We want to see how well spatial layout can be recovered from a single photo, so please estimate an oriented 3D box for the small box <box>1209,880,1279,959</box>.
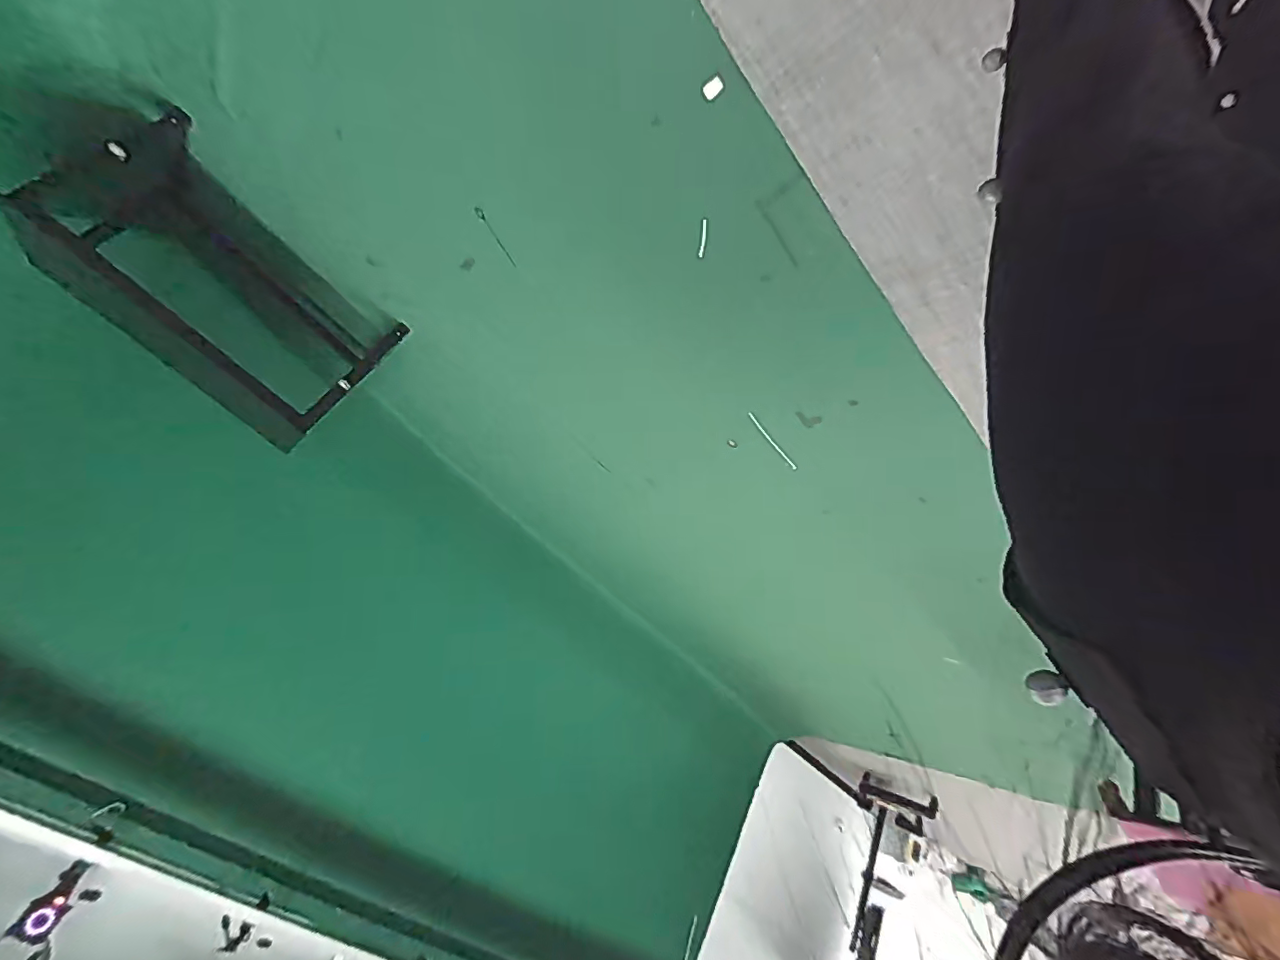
[{"bbox_3d":[1.631,1.176,1.395,0.168,0.176,0.179,34,151,-5],"label":"small box"}]
